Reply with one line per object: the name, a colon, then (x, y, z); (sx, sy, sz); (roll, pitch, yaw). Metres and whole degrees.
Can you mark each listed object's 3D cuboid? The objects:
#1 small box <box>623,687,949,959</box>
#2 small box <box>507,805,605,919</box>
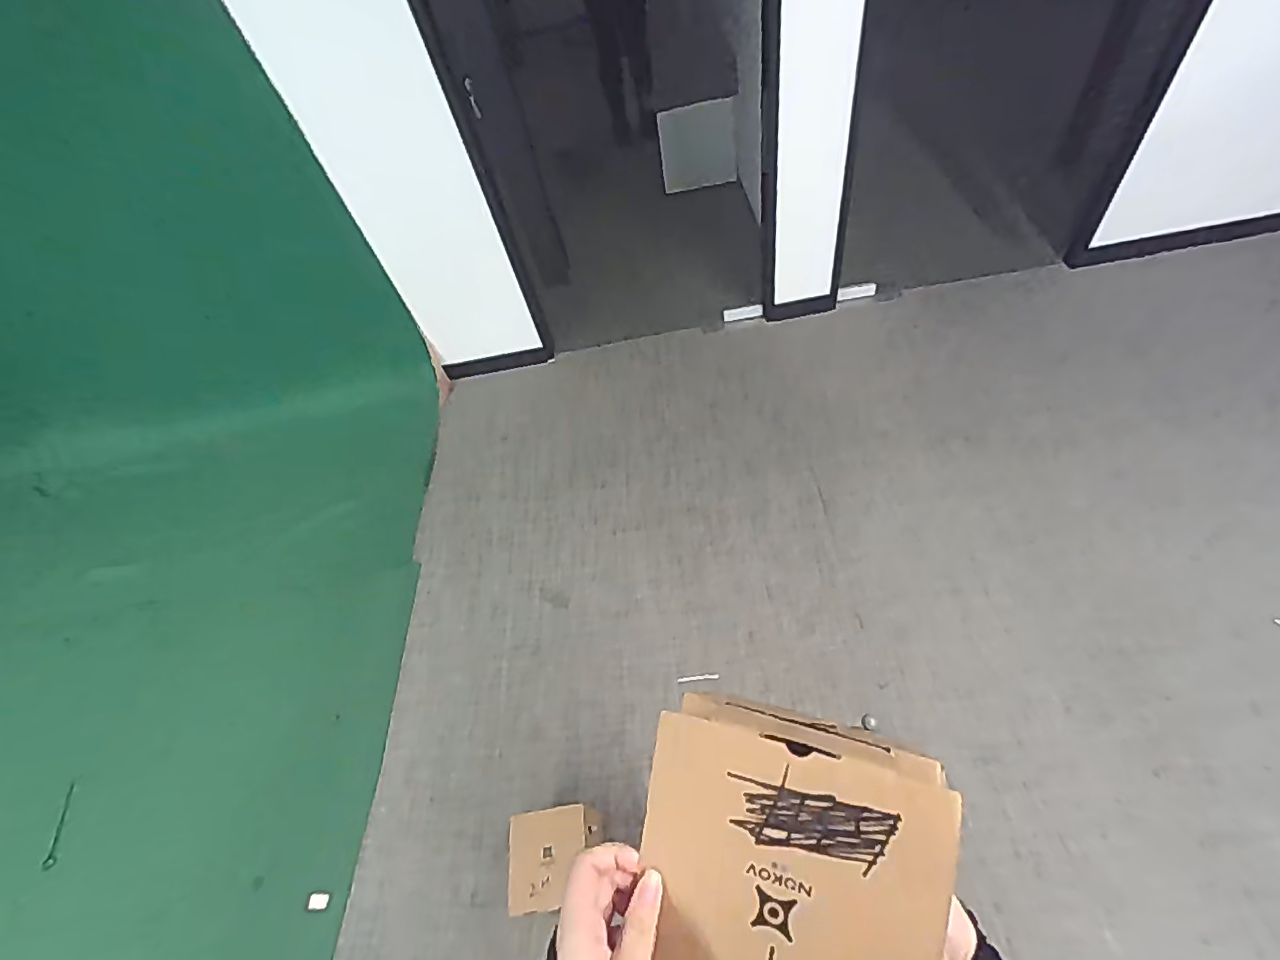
small box: (0.106, 0.260, 0.388); (0.168, 0.176, 0.179); (8, 72, 21)
small box: (-0.176, 0.825, 1.166); (0.168, 0.176, 0.179); (-11, 50, 4)
